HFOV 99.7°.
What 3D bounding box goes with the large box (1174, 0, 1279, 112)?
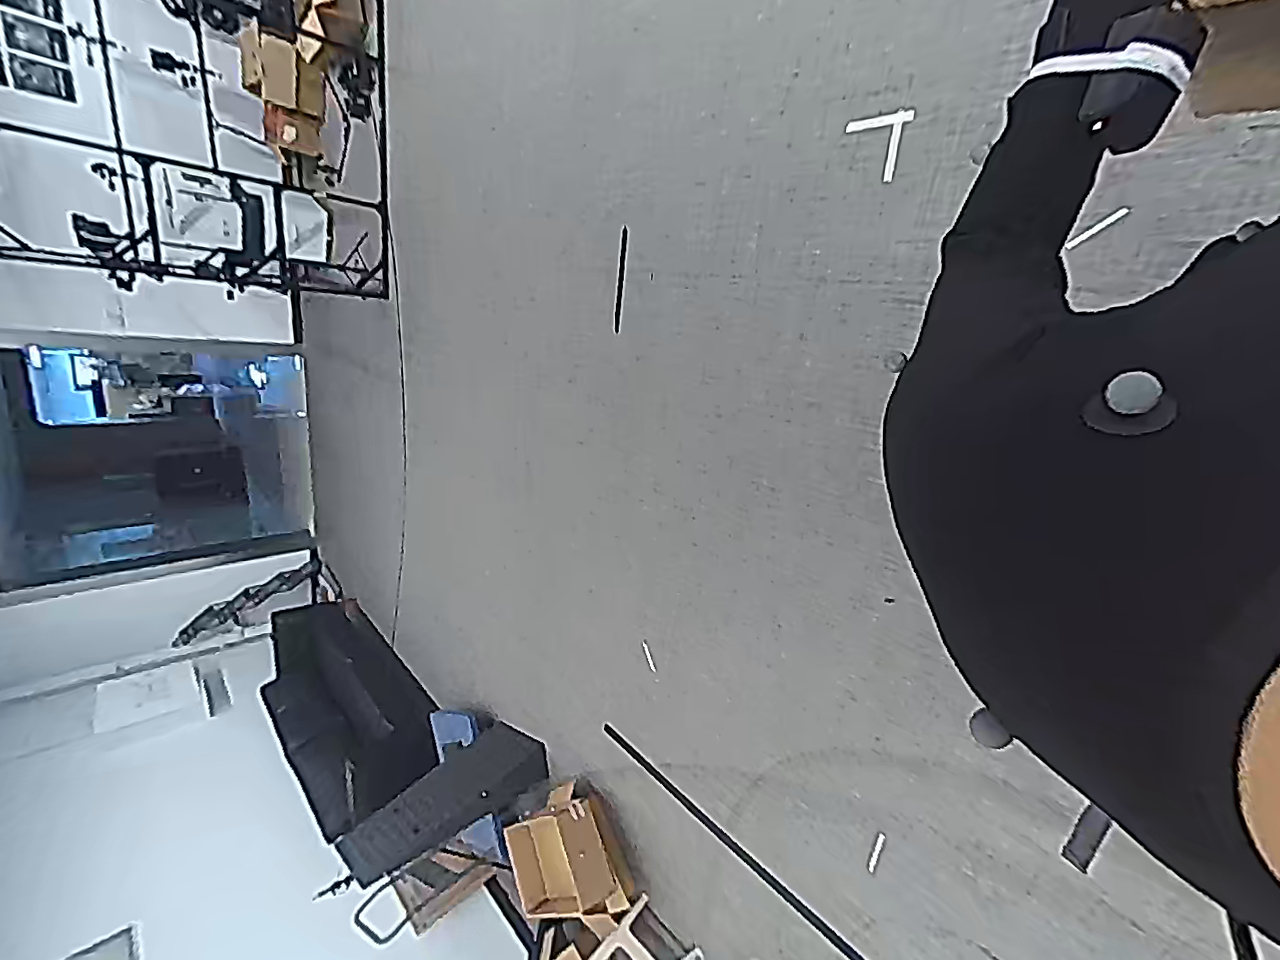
[{"bbox_3d":[0.605,-0.433,0.278,0.408,0.320,0.320,23,120,42],"label":"large box"}]
